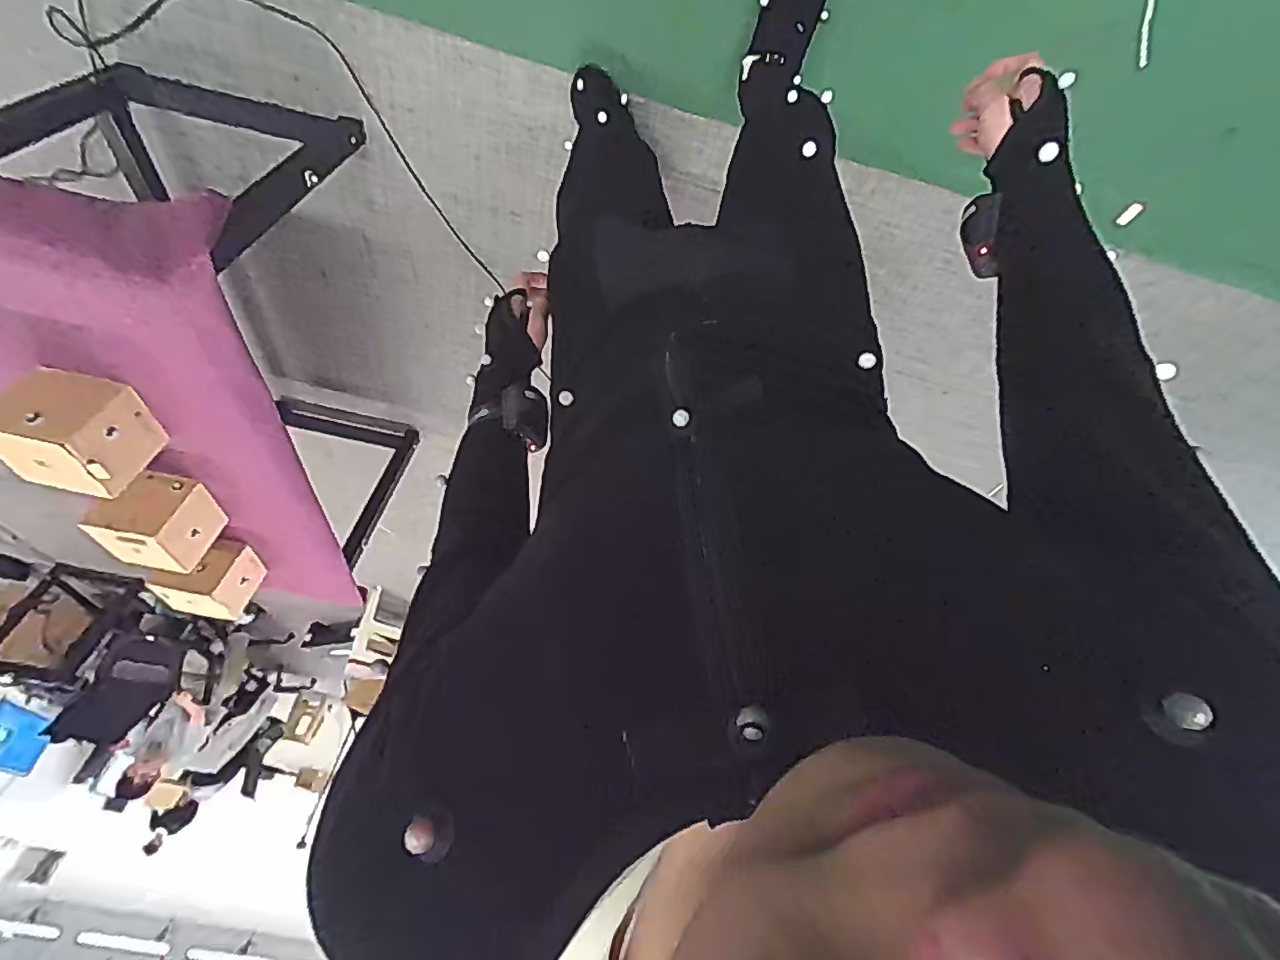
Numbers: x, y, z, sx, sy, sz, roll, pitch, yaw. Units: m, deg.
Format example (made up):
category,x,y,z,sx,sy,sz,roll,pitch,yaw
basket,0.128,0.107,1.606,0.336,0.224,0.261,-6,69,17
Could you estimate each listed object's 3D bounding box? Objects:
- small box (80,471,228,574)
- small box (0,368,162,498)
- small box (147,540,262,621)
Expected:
category,x,y,z,sx,sy,sz,roll,pitch,yaw
small box,-1.149,0.100,1.297,0.168,0.176,0.179,13,142,-3
small box,-1.089,-0.093,1.049,0.179,0.176,0.168,13,141,-4
small box,-1.207,0.276,1.523,0.179,0.176,0.168,12,140,-4
